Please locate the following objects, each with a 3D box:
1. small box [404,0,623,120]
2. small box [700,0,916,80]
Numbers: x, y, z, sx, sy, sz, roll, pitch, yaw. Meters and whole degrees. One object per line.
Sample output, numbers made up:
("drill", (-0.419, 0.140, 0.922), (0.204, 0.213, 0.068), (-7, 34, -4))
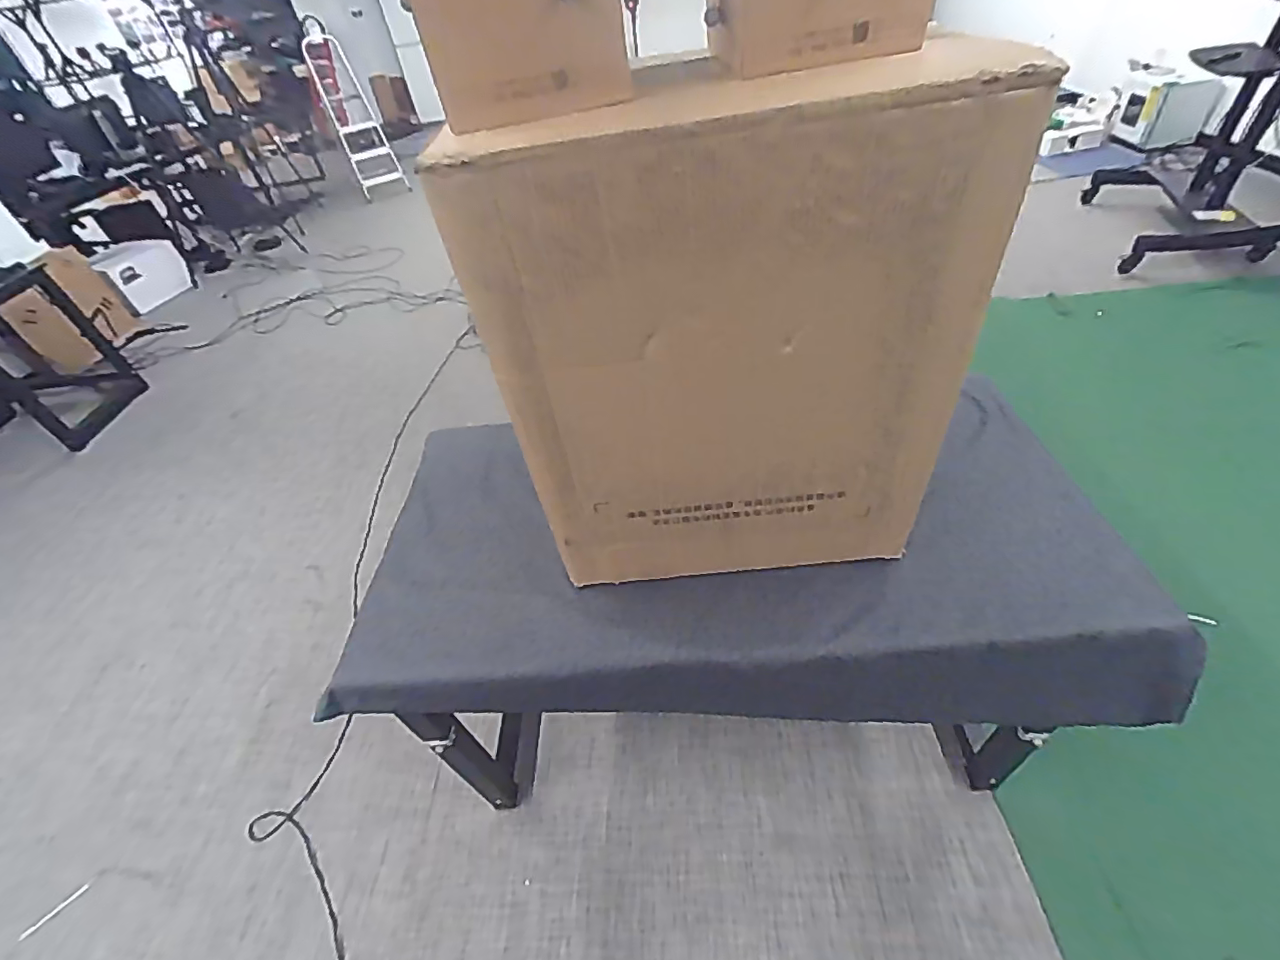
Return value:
("small box", (-0.118, -0.443, 0.479), (0.168, 0.176, 0.179), (-14, 47, -2))
("small box", (0.146, -0.485, 0.487), (0.168, 0.176, 0.179), (-9, 47, 2))
